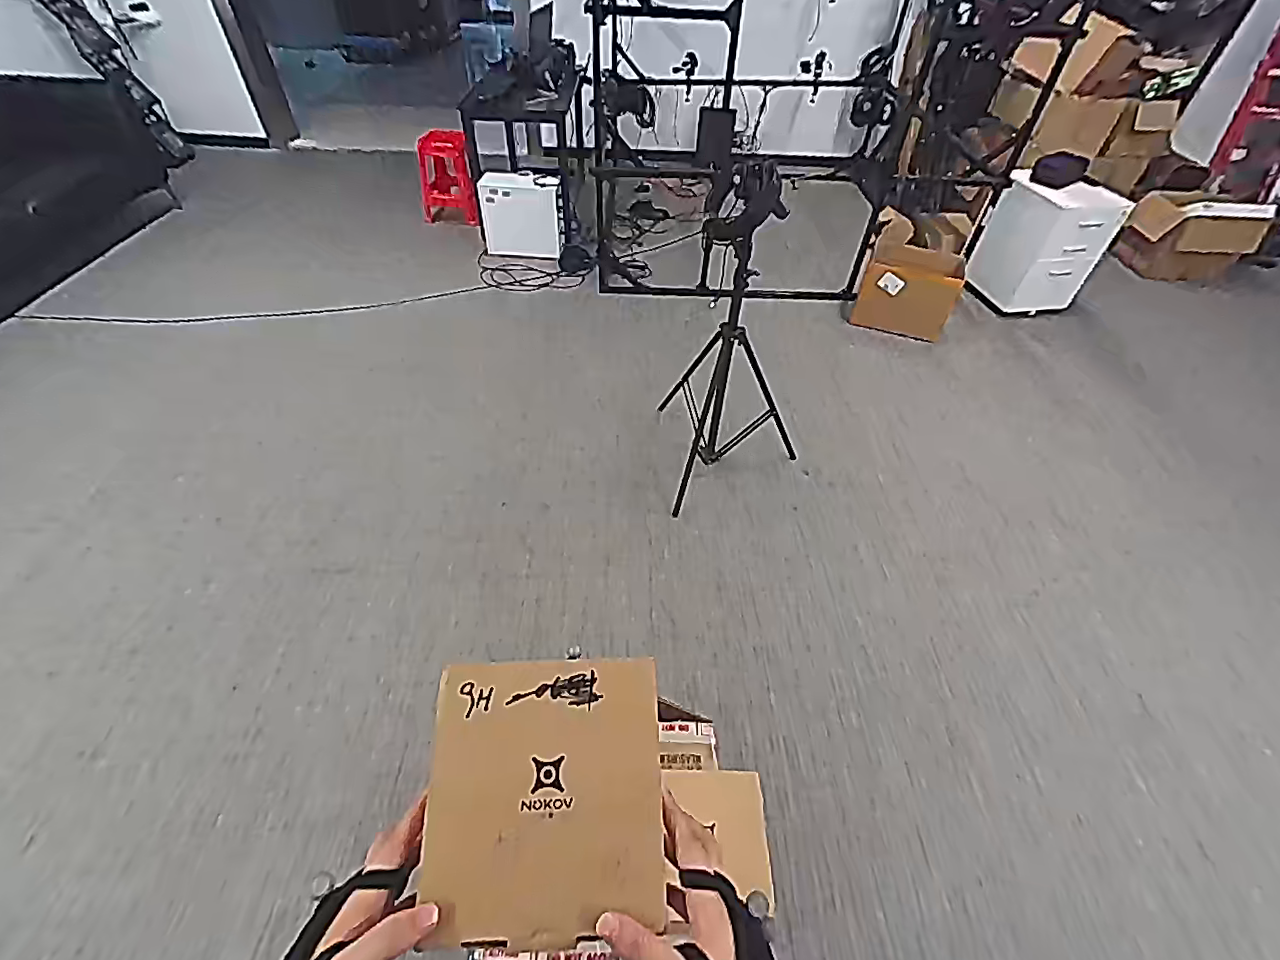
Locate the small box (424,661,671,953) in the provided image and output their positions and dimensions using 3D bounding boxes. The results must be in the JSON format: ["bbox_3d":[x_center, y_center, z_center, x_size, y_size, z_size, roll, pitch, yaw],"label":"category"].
[{"bbox_3d":[-0.066,0.253,0.457,0.168,0.176,0.179,-2,67,-4],"label":"small box"}]

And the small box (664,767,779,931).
[{"bbox_3d":[0.090,0.539,0.789,0.168,0.176,0.179,2,48,-2],"label":"small box"}]
